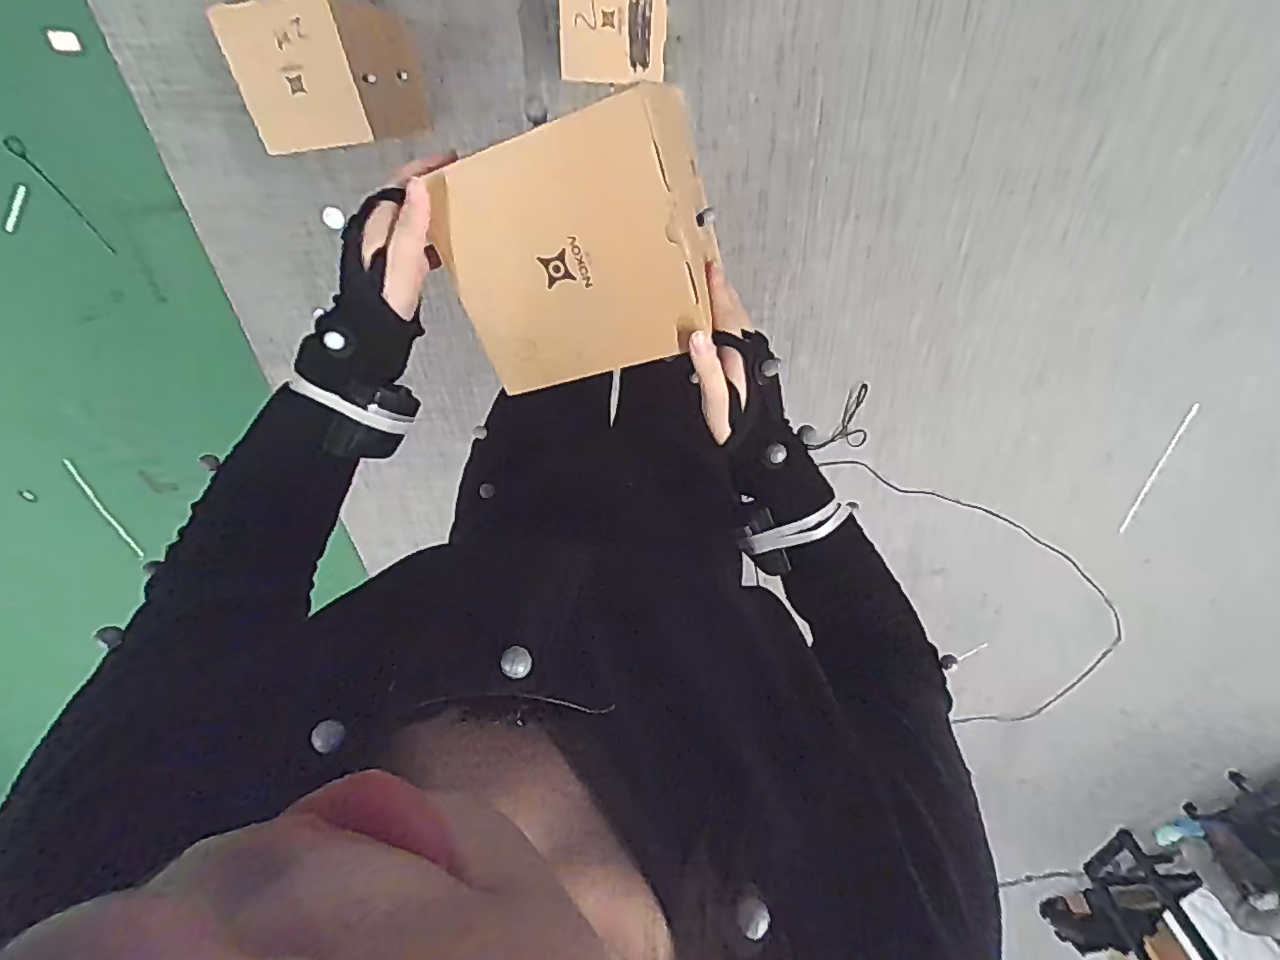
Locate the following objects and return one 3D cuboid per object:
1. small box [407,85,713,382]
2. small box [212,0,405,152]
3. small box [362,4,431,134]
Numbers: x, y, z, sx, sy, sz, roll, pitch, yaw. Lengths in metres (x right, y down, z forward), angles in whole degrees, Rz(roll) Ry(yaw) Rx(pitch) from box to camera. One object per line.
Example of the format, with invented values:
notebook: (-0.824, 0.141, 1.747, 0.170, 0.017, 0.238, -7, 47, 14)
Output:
small box: (-0.046, -0.205, 0.456, 0.179, 0.176, 0.168, -9, 123, 19)
small box: (-0.491, -0.626, 0.838, 0.168, 0.176, 0.179, -6, 126, 1)
small box: (-0.495, -0.726, 0.969, 0.168, 0.176, 0.179, -5, 126, 0)
